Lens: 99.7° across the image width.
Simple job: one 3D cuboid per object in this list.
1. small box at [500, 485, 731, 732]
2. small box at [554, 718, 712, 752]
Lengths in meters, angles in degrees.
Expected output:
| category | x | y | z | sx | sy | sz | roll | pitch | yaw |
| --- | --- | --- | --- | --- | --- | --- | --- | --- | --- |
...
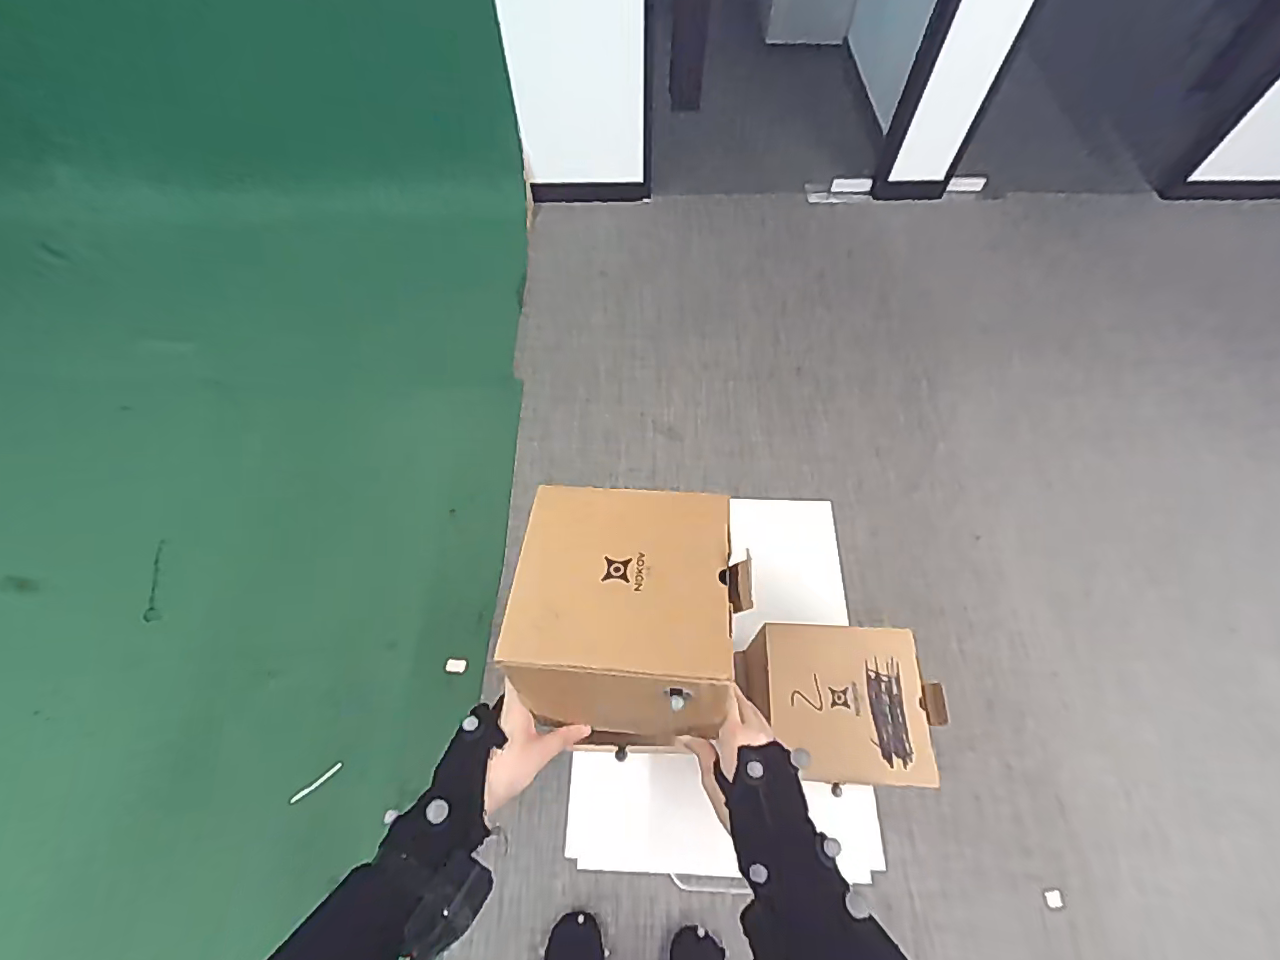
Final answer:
| category | x | y | z | sx | sy | sz | roll | pitch | yaw |
| --- | --- | --- | --- | --- | --- | --- | --- | --- | --- |
| small box | -0.010 | 0.124 | 0.508 | 0.179 | 0.176 | 0.168 | 3 | 50 | 4 |
| small box | -0.007 | 0.253 | 0.695 | 0.179 | 0.176 | 0.168 | 2 | 61 | 0 |
